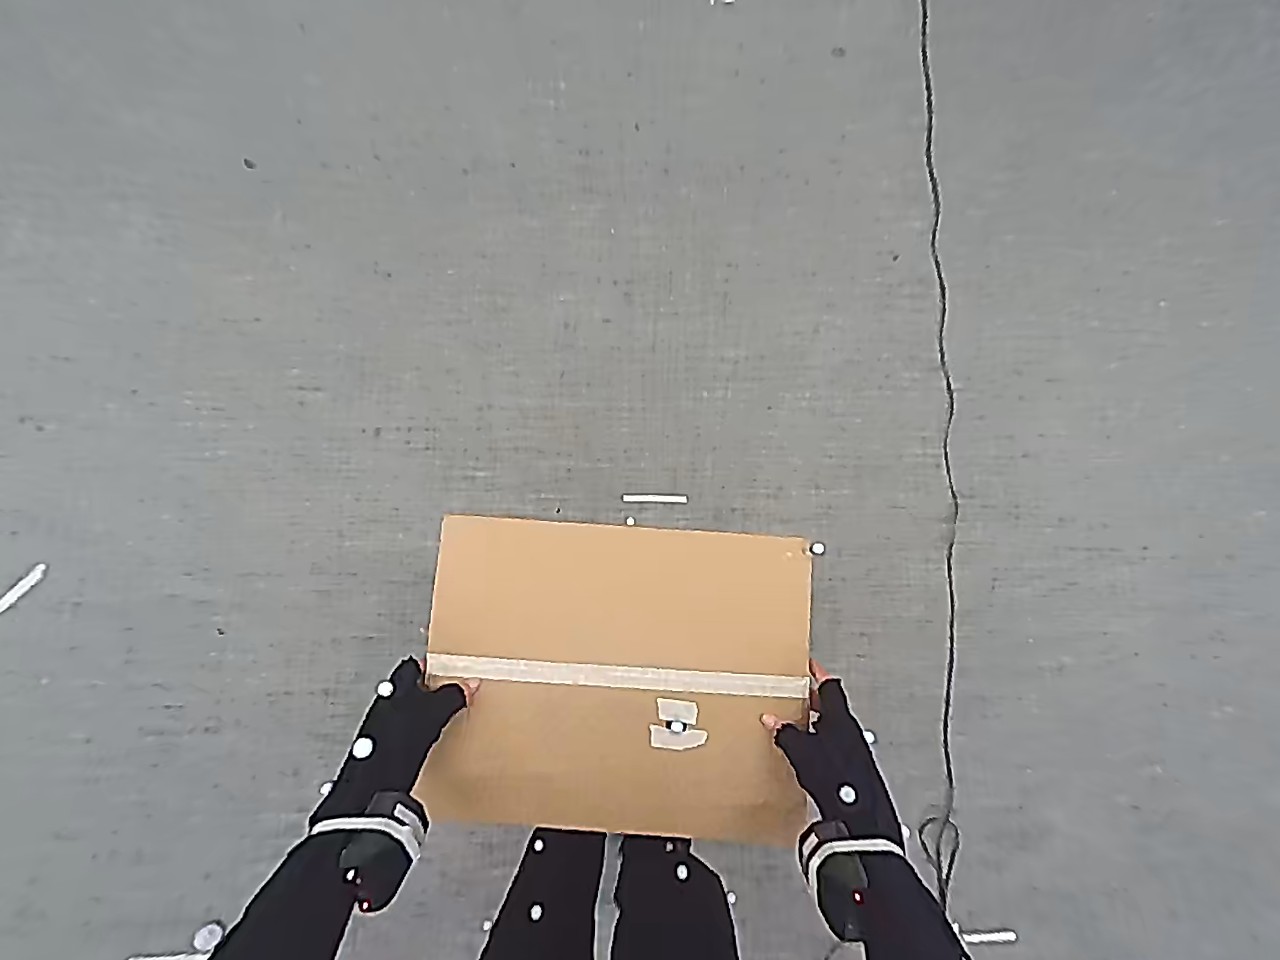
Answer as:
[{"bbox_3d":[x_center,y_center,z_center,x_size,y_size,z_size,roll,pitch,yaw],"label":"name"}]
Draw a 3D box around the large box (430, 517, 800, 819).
[{"bbox_3d":[-0.025,0.223,0.745,0.408,0.320,0.320,4,83,0],"label":"large box"}]
